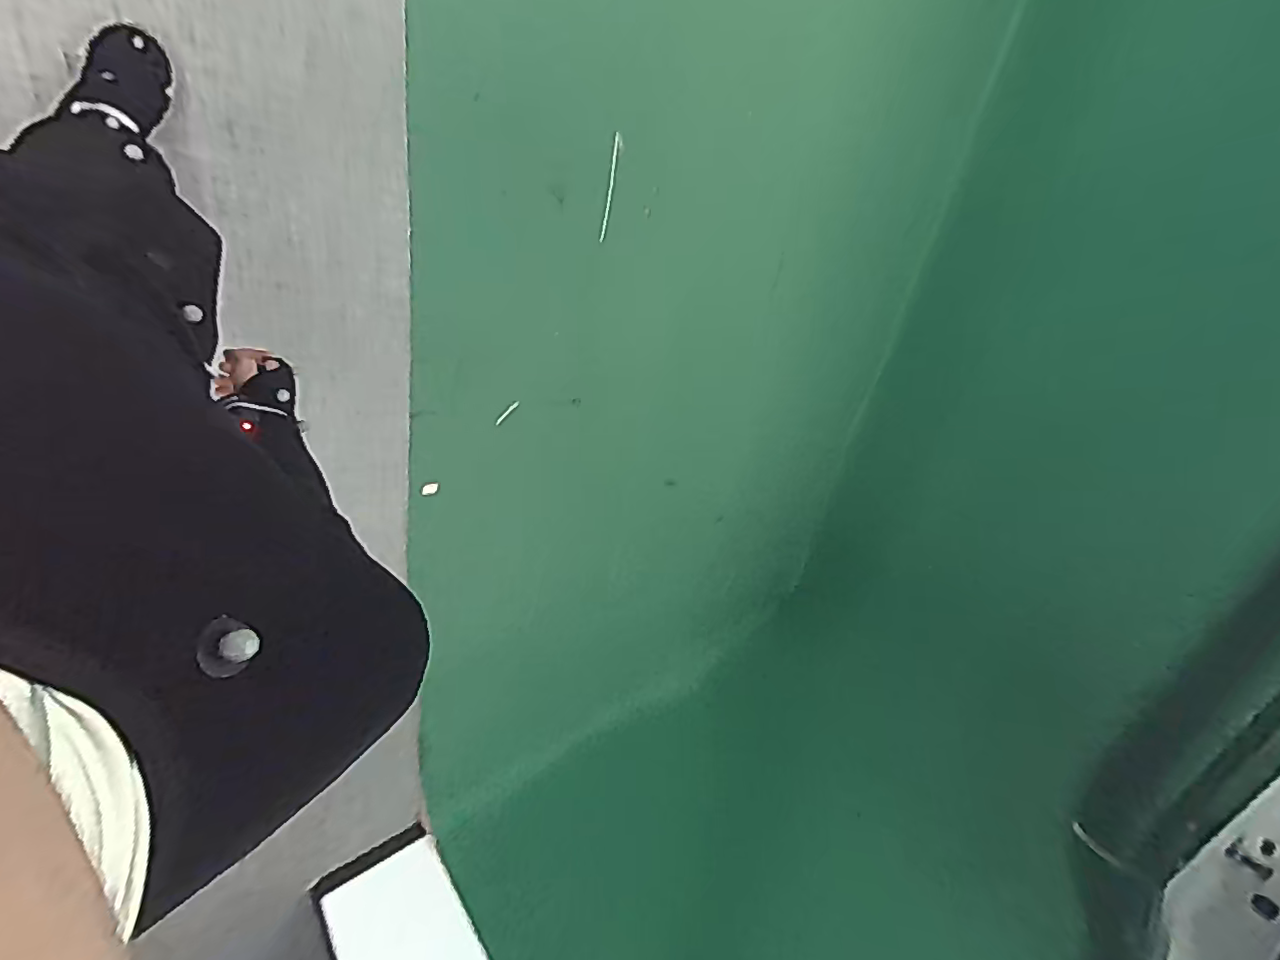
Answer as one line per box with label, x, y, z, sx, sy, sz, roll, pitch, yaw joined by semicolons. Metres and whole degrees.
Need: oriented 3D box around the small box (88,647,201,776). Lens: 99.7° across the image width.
small box;-1.080;0.488;1.180;0.168;0.176;0.179;-8;121;-42
